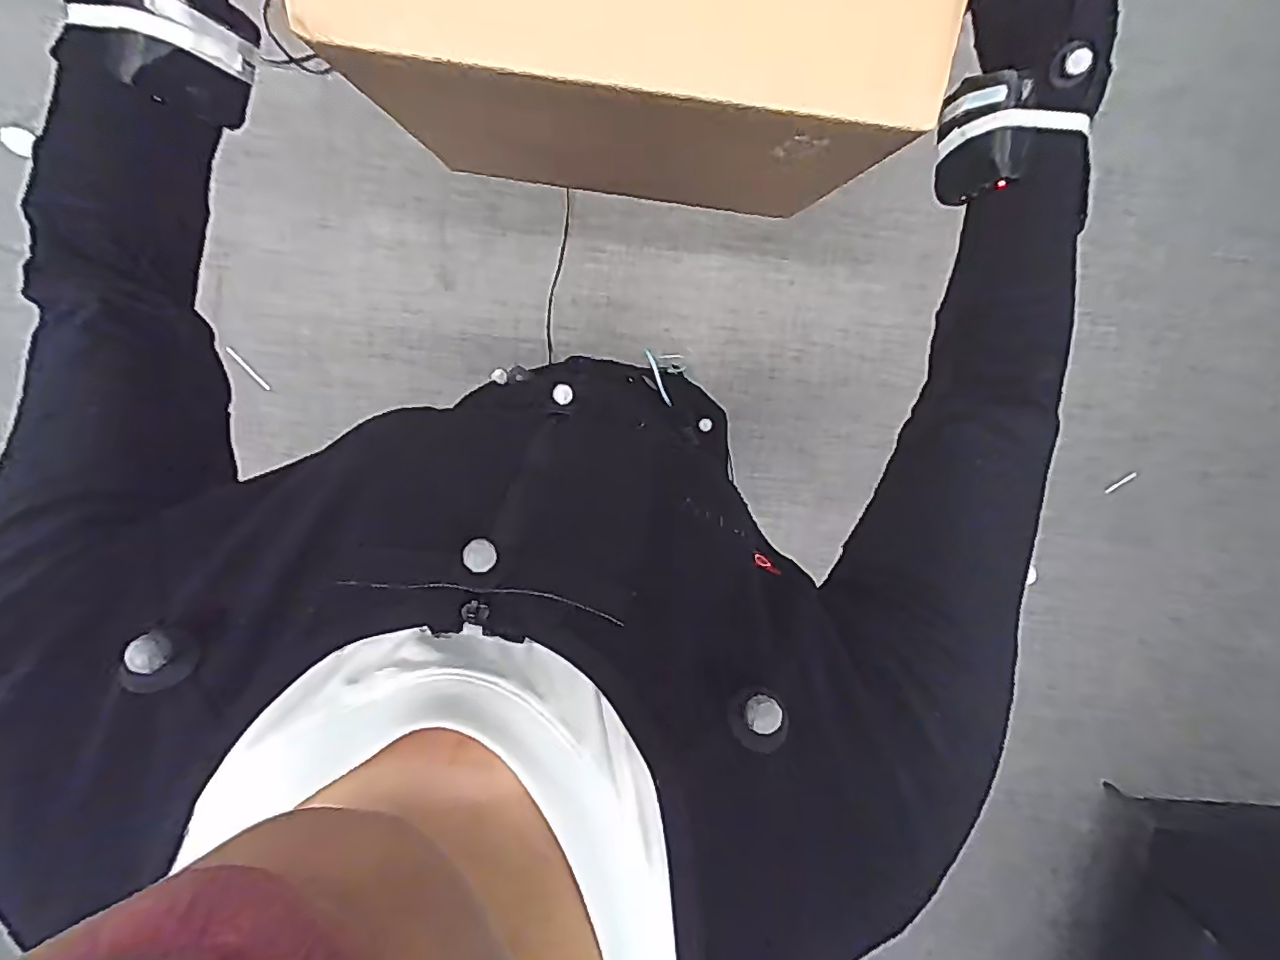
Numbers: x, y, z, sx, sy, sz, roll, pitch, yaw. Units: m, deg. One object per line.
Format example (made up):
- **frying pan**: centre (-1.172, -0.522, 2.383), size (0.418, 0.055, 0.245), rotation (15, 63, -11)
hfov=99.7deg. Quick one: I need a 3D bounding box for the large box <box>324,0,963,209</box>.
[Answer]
- **large box**: centre (0.009, -0.443, 0.448), size (0.408, 0.320, 0.320), rotation (5, 106, -5)
